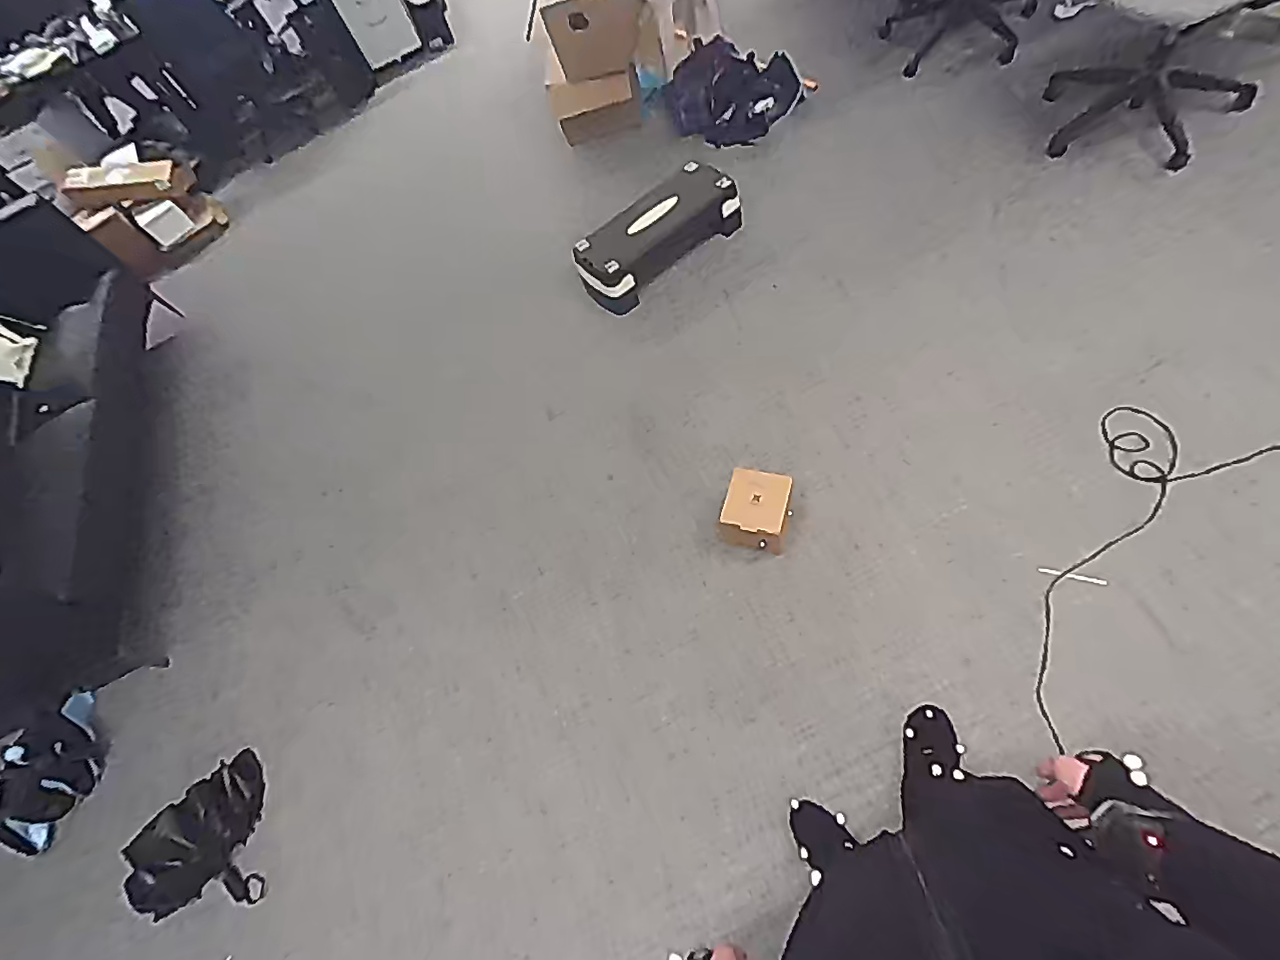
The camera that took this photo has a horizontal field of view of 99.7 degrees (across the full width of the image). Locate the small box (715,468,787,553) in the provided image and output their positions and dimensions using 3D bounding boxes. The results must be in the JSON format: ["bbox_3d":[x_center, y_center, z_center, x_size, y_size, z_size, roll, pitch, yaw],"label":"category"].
[{"bbox_3d":[0.325,0.091,1.555,0.168,0.176,0.179,11,65,20],"label":"small box"}]
